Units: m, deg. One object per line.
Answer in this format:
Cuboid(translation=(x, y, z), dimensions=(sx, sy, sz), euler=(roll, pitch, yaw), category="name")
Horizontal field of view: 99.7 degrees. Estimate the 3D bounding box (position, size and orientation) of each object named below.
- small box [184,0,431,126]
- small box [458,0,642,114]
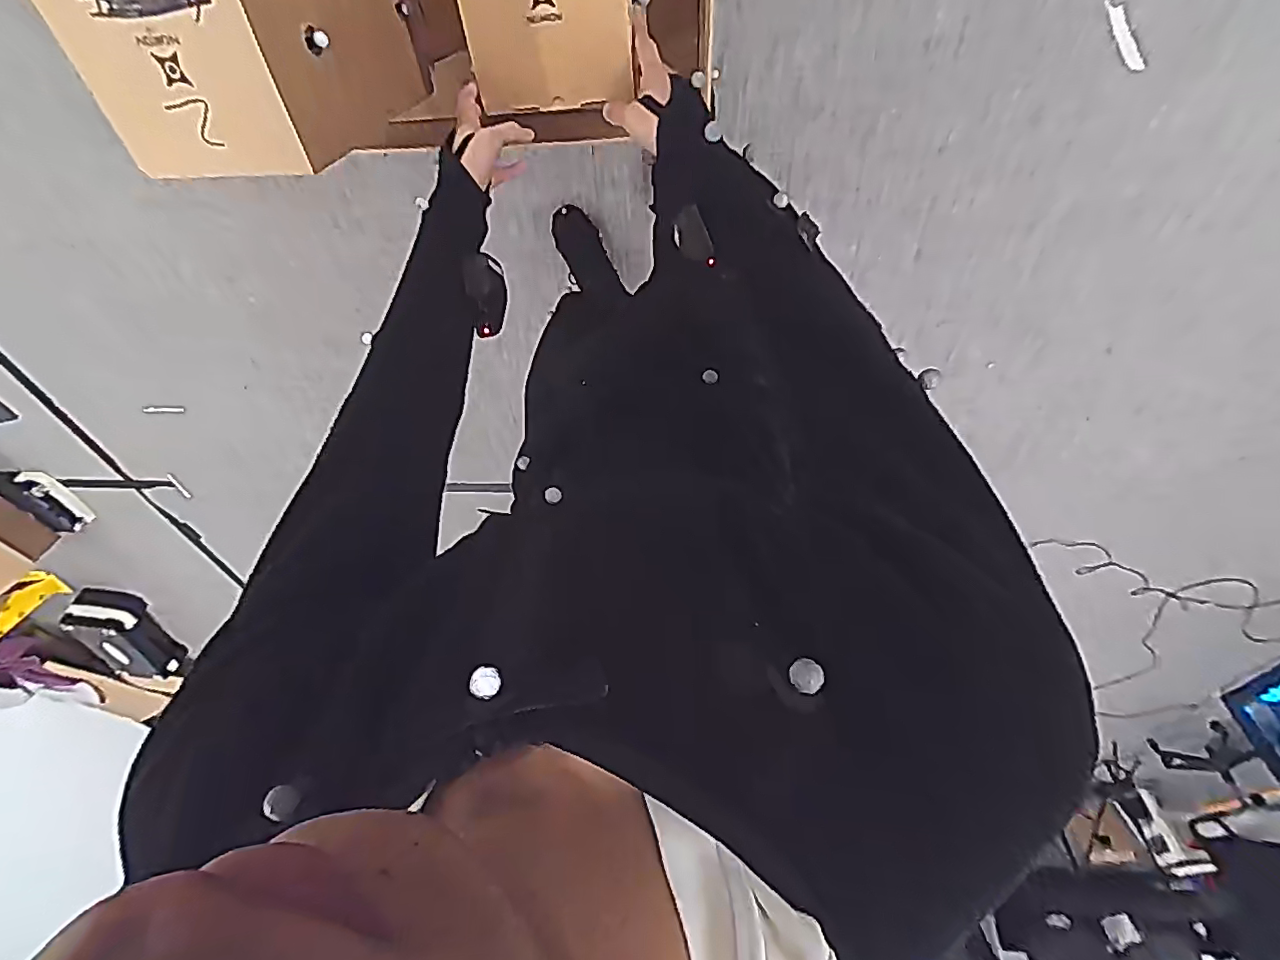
Cuboid(translation=(-0.358, -0.509, 0.594), dimensions=(0.168, 0.176, 0.179), euler=(2, 134, 6), category="small box")
Cuboid(translation=(-0.088, -0.511, 0.566), dimensions=(0.168, 0.176, 0.179), euler=(-1, 136, 6), category="small box")
